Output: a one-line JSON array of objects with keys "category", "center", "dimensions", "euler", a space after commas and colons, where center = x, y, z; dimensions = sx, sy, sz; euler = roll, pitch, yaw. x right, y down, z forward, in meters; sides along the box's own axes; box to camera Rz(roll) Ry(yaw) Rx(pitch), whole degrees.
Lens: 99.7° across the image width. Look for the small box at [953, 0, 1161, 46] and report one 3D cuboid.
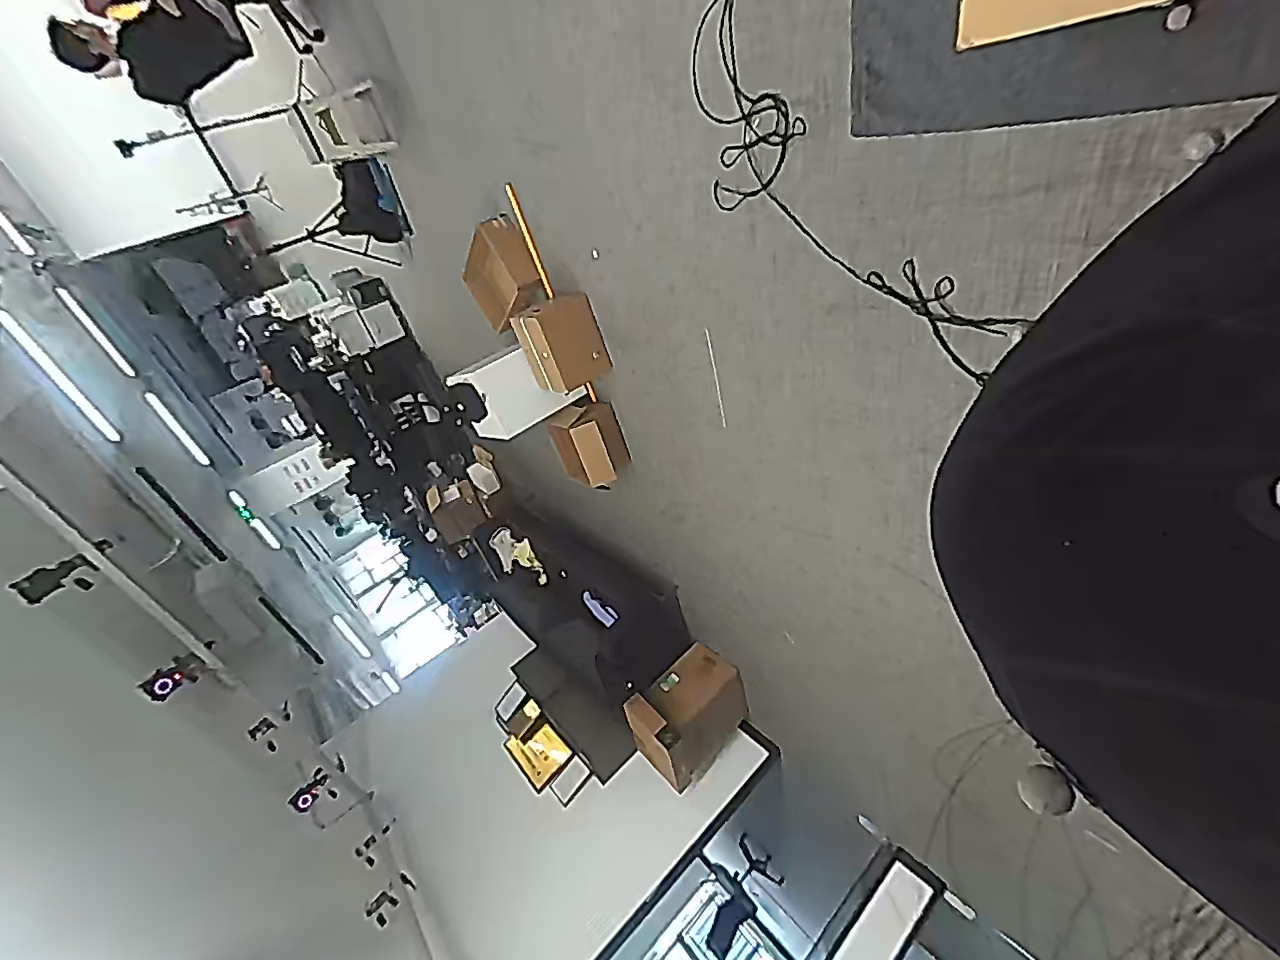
[{"category": "small box", "center": [0.346, -0.425, 0.362], "dimensions": [0.179, 0.176, 0.168], "euler": [26, 141, 45]}]
